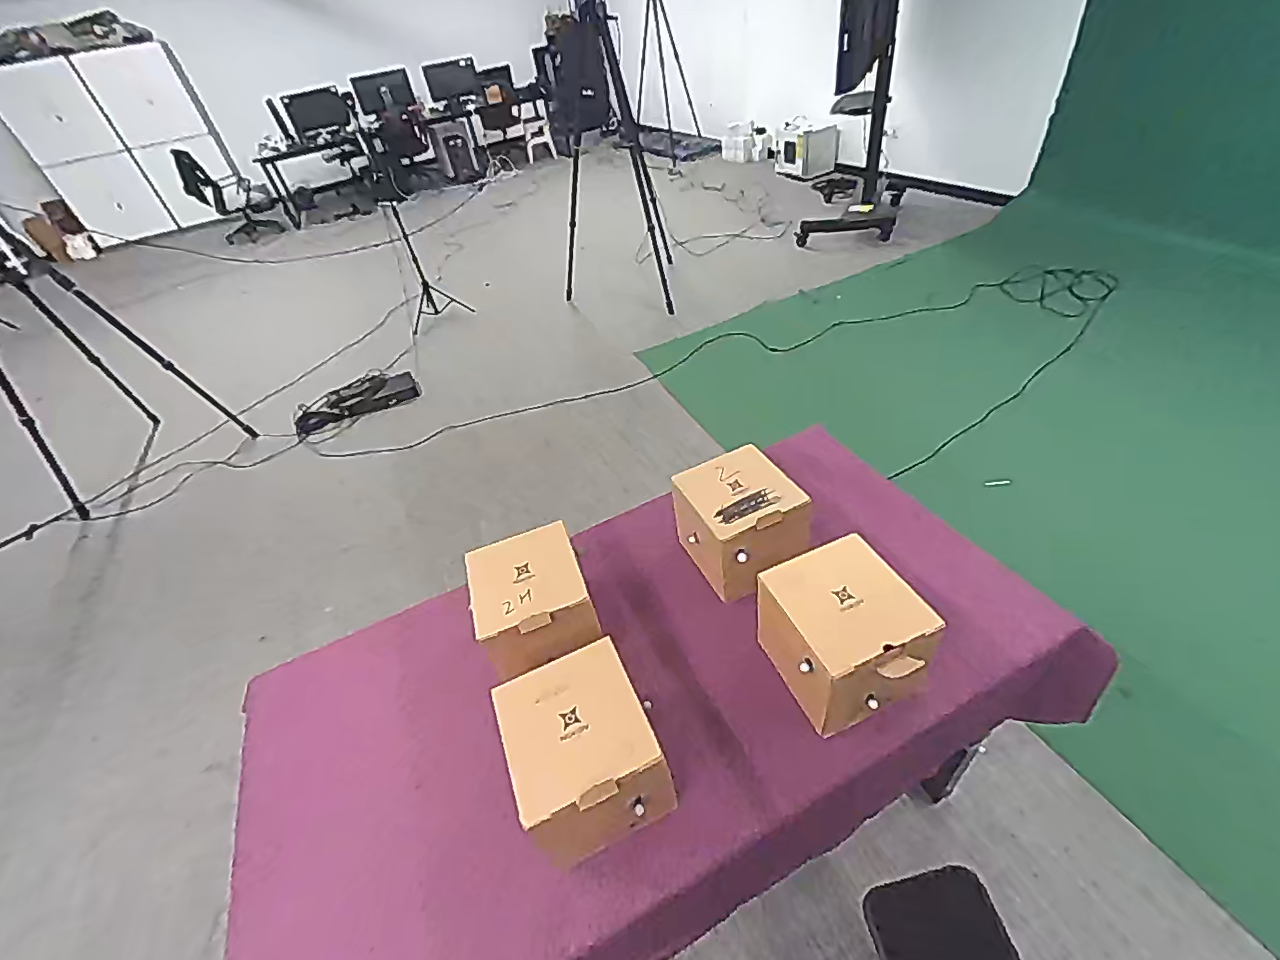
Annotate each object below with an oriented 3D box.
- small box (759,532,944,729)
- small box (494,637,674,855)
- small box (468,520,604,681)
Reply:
[{"bbox_3d":[0.280,0.210,0.762,0.168,0.176,0.179,-21,43,-10],"label":"small box"},{"bbox_3d":[-0.068,0.345,0.694,0.168,0.176,0.179,-22,42,-12],"label":"small box"},{"bbox_3d":[-0.164,0.201,0.871,0.168,0.176,0.179,-20,43,-8],"label":"small box"}]
